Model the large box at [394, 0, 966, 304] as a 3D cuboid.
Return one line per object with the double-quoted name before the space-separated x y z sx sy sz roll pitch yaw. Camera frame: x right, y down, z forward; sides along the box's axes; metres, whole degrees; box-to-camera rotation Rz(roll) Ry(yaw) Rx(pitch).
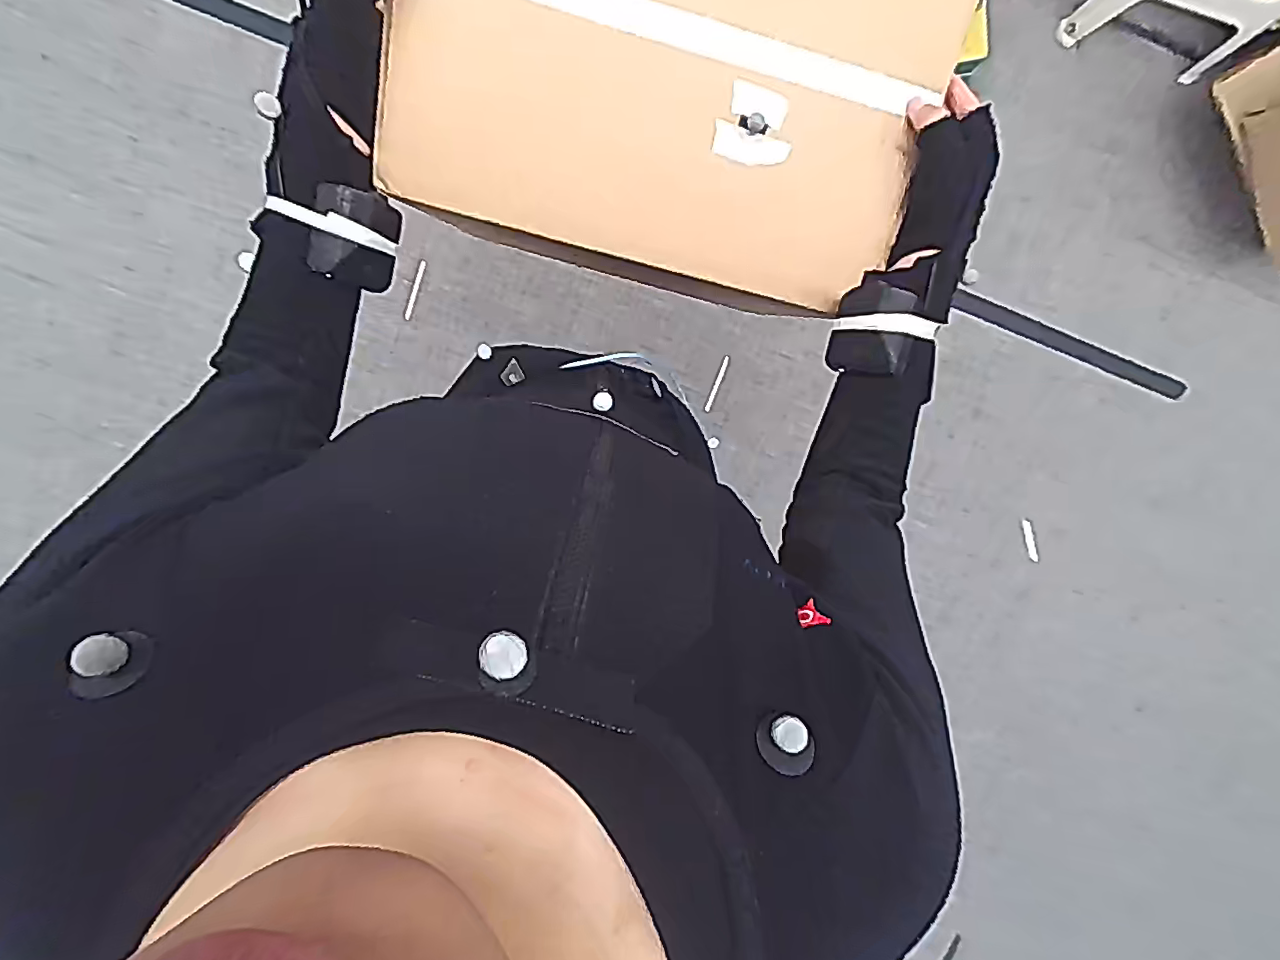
"large box" 0.022 -0.376 0.539 0.408 0.320 0.320 12 108 -8
